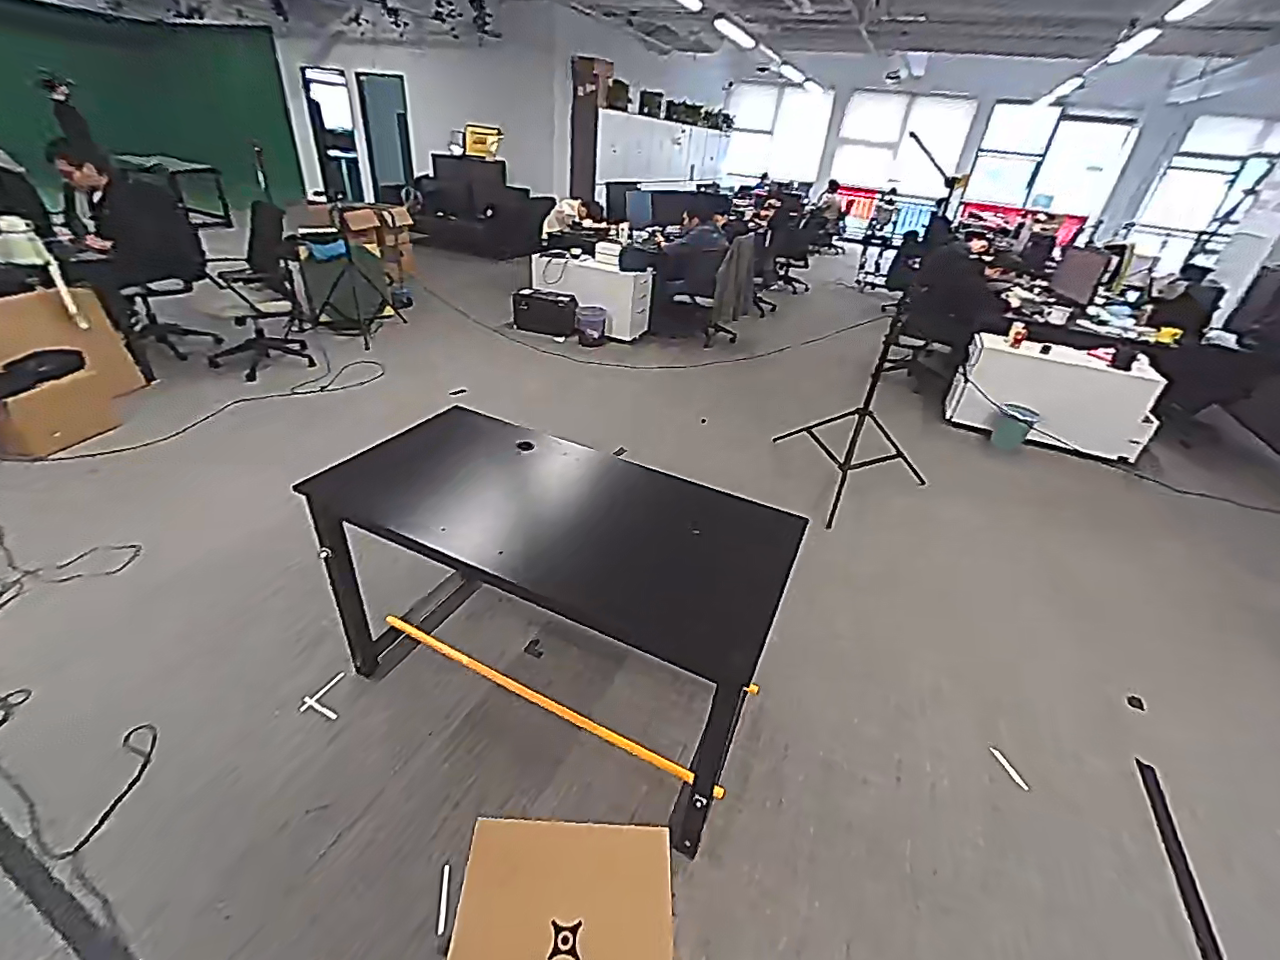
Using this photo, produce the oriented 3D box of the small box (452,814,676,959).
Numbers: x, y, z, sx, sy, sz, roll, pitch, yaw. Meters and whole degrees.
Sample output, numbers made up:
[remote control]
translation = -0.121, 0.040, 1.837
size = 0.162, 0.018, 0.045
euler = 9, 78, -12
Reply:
[small box]
translation = -0.064, 0.408, 0.447
size = 0.168, 0.176, 0.179
euler = 5, 39, -4
